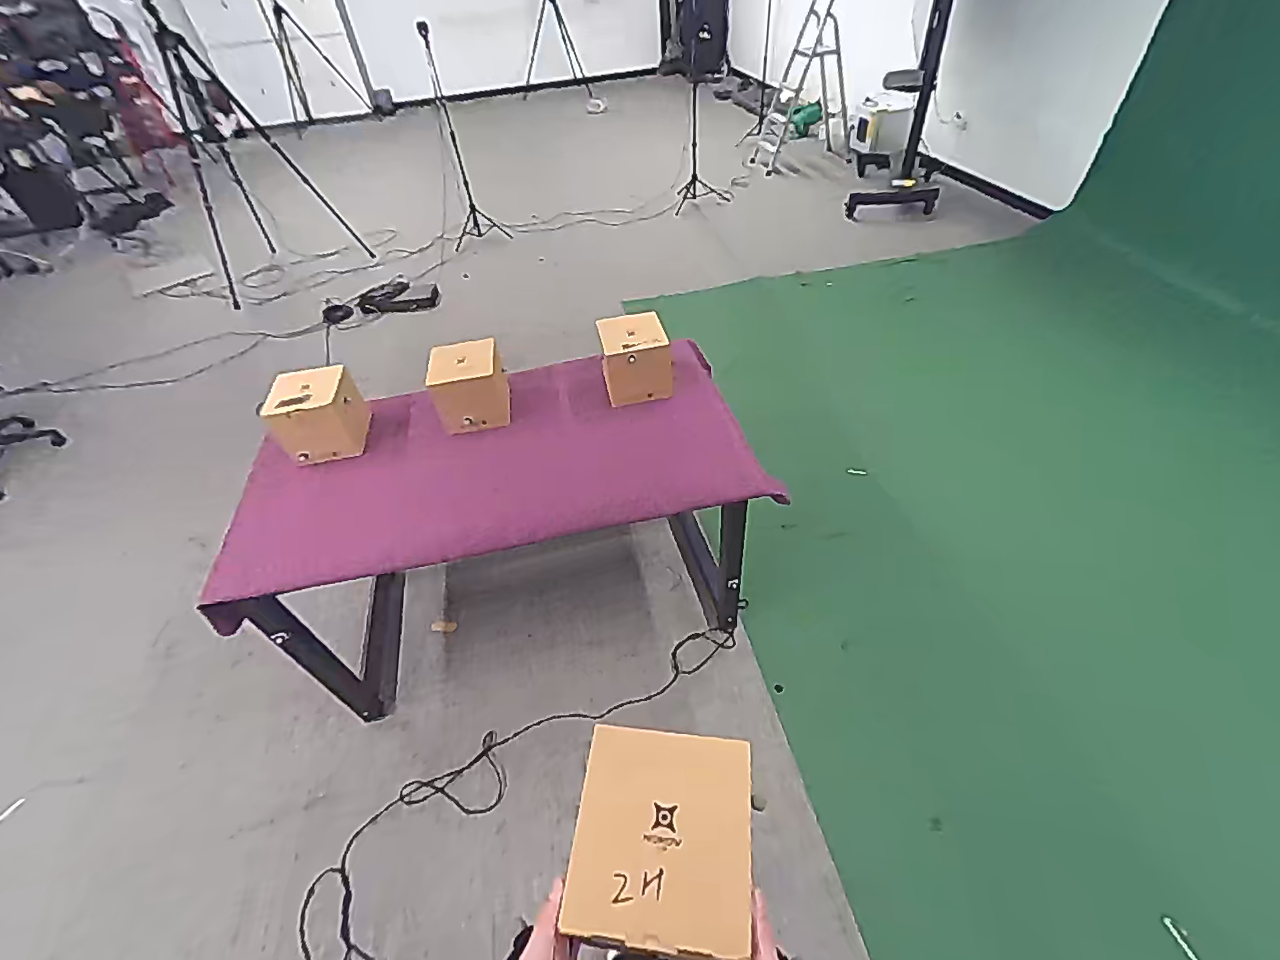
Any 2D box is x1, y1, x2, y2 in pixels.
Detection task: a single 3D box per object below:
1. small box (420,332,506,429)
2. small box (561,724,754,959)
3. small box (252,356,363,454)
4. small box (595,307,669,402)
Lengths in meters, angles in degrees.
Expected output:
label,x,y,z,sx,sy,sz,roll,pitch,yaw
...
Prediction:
label,x,y,z,sx,sy,sz,roll,pitch,yaw
small box,-0.450,-0.257,1.400,0.168,0.176,0.179,-10,48,-4
small box,0.027,0.385,0.569,0.168,0.176,0.179,4,48,8
small box,-0.816,-0.181,1.349,0.168,0.176,0.179,-10,47,-6
small box,-0.021,-0.332,1.435,0.168,0.176,0.179,-11,47,-5
